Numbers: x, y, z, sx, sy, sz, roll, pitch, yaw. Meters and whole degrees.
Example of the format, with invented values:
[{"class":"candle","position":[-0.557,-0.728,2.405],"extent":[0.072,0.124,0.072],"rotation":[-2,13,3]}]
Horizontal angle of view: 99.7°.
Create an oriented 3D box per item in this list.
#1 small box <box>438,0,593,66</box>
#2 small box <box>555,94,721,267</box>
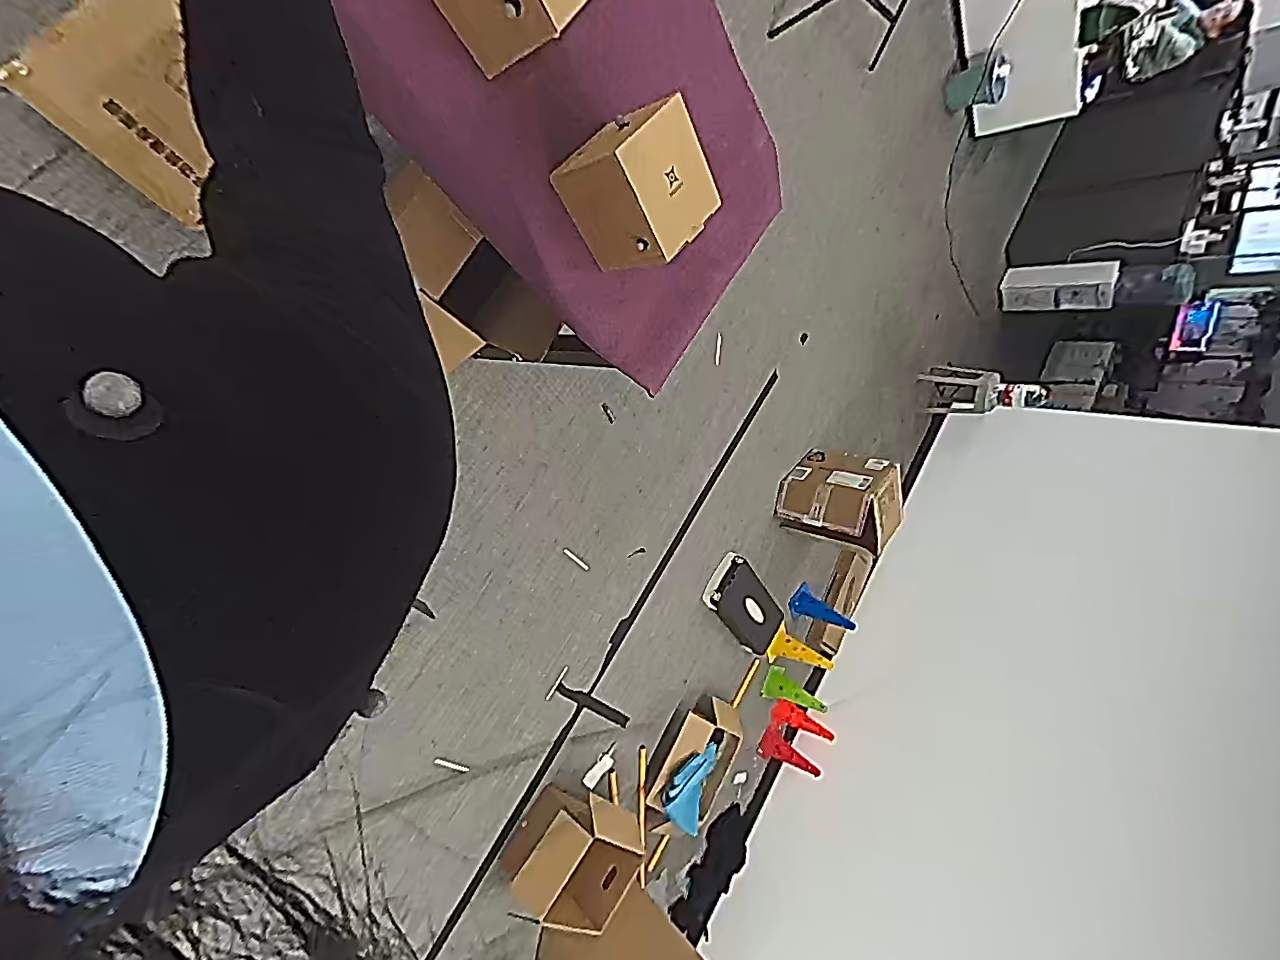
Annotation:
[{"class":"small box","position":[-0.157,-0.655,0.664],"extent":[0.179,0.176,0.168],"rotation":[45,67,-42]},{"class":"small box","position":[-0.004,-0.466,0.870],"extent":[0.168,0.176,0.179],"rotation":[-53,132,-20]}]
